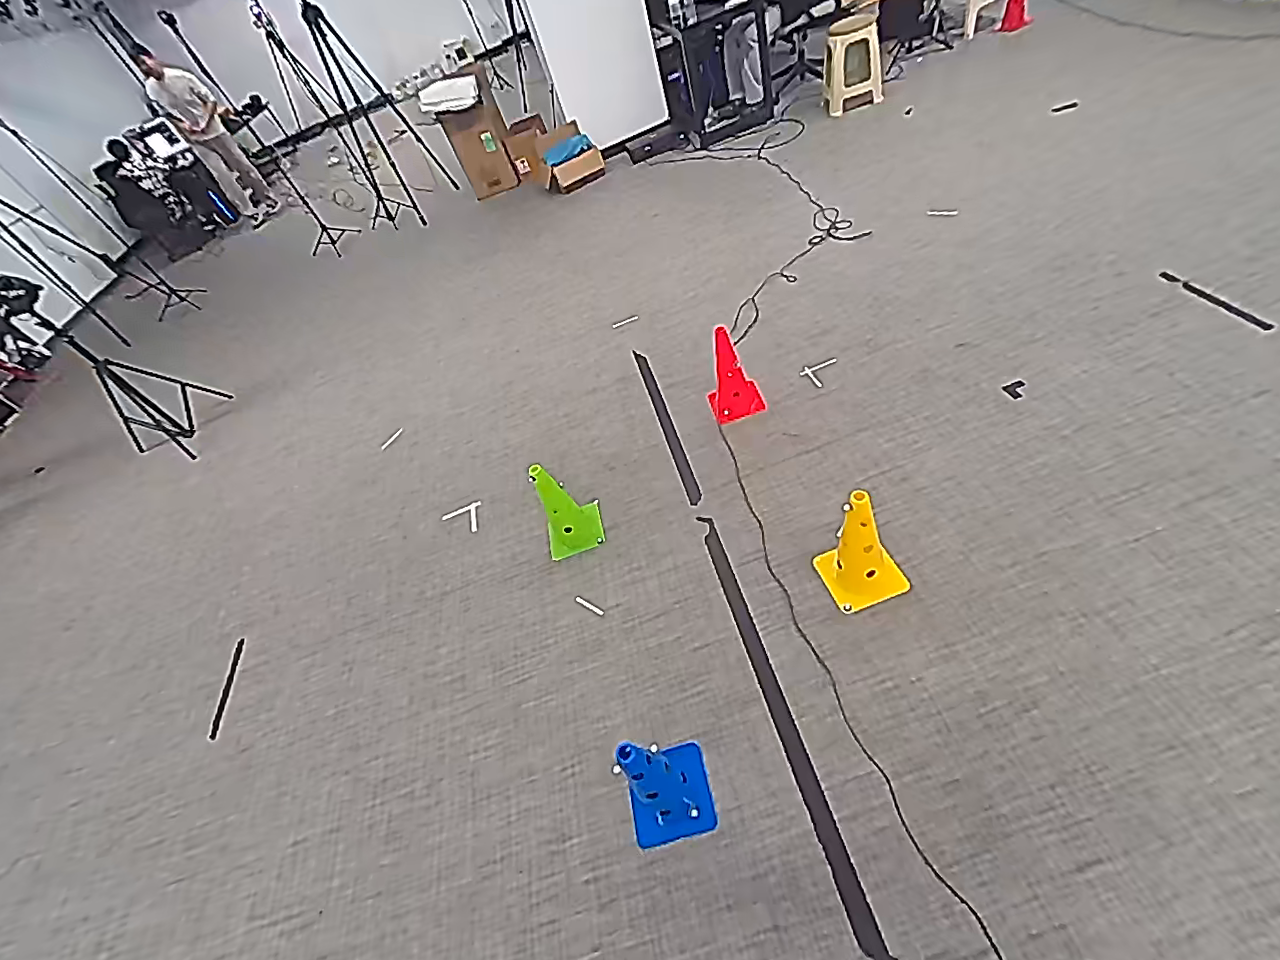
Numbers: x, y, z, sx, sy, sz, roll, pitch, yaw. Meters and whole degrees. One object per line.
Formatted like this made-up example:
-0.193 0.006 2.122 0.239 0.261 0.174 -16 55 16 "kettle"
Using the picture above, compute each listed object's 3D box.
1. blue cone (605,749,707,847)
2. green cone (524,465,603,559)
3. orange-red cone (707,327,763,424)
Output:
0.012 0.667 1.205 0.192 0.380 0.193 -19 46 7 "blue cone"
-0.291 0.073 1.839 0.202 0.368 0.200 -22 46 4 "green cone"
0.329 -0.419 2.030 0.199 0.360 0.198 -17 47 6 "orange-red cone"
